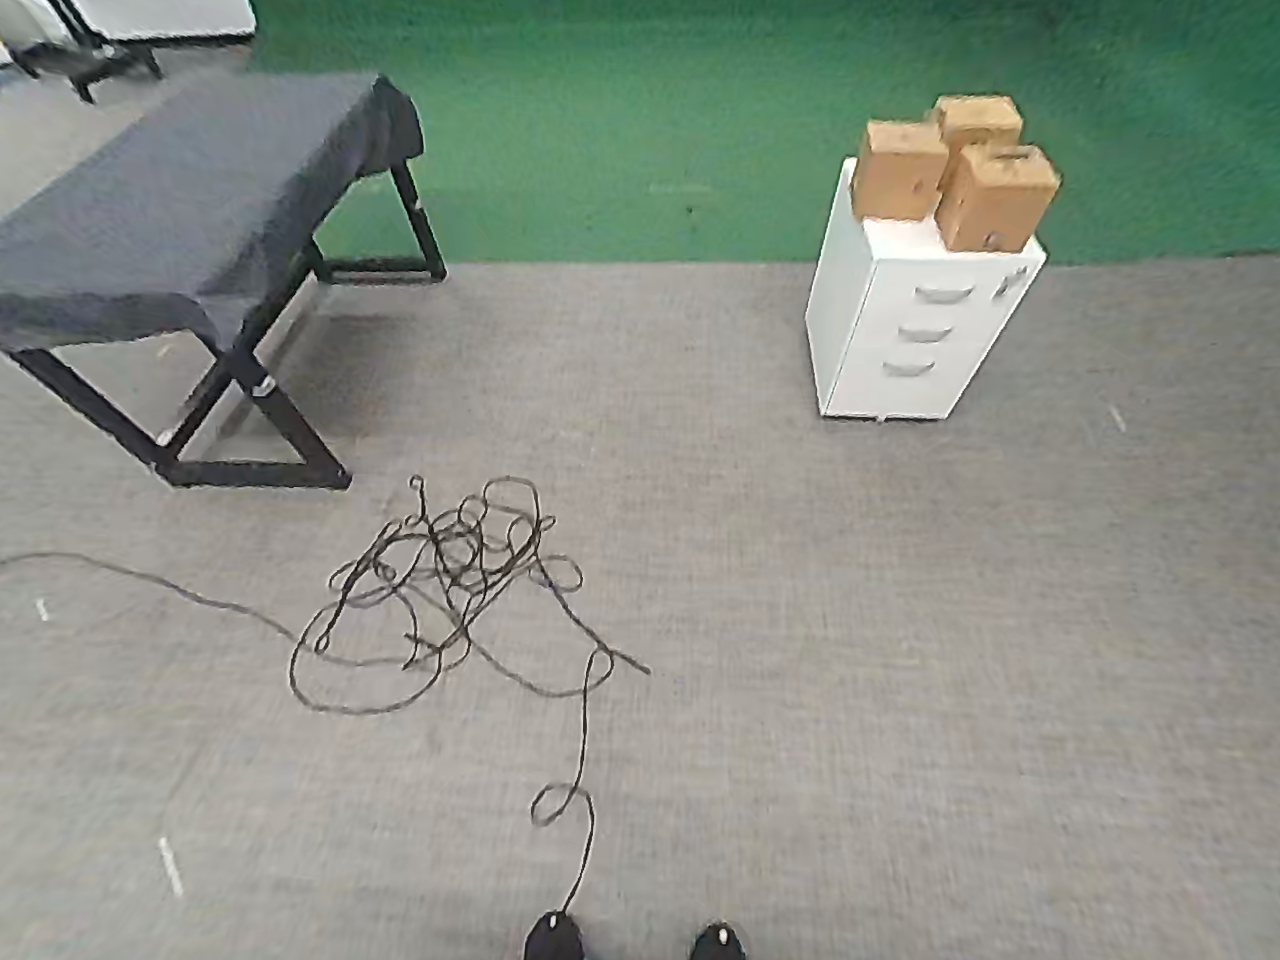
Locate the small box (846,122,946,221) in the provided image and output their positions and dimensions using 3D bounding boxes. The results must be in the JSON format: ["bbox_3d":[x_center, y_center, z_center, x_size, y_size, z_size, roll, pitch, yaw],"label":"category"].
[{"bbox_3d":[0.639,-0.780,1.371,0.179,0.176,0.168,6,53,7],"label":"small box"}]

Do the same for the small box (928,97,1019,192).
[{"bbox_3d":[0.858,-0.892,1.444,0.179,0.176,0.168,4,55,6],"label":"small box"}]
